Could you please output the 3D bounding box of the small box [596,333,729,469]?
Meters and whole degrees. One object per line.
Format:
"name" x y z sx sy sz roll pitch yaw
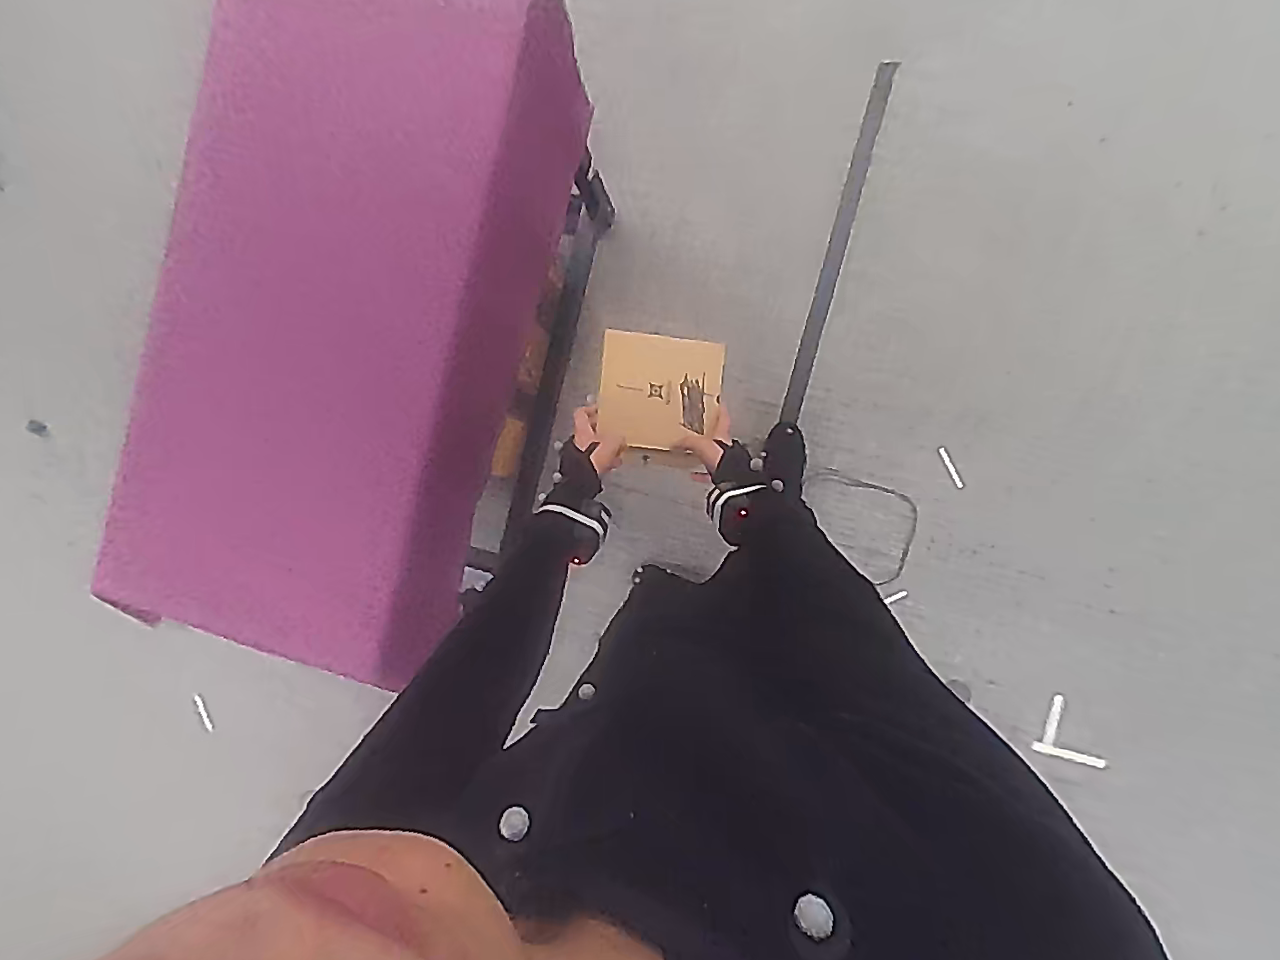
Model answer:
"small box" 0.027 -0.112 0.843 0.179 0.176 0.168 6 84 -5

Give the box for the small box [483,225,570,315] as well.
"small box" -0.326 -0.603 1.576 0.179 0.176 0.168 -15 87 10
